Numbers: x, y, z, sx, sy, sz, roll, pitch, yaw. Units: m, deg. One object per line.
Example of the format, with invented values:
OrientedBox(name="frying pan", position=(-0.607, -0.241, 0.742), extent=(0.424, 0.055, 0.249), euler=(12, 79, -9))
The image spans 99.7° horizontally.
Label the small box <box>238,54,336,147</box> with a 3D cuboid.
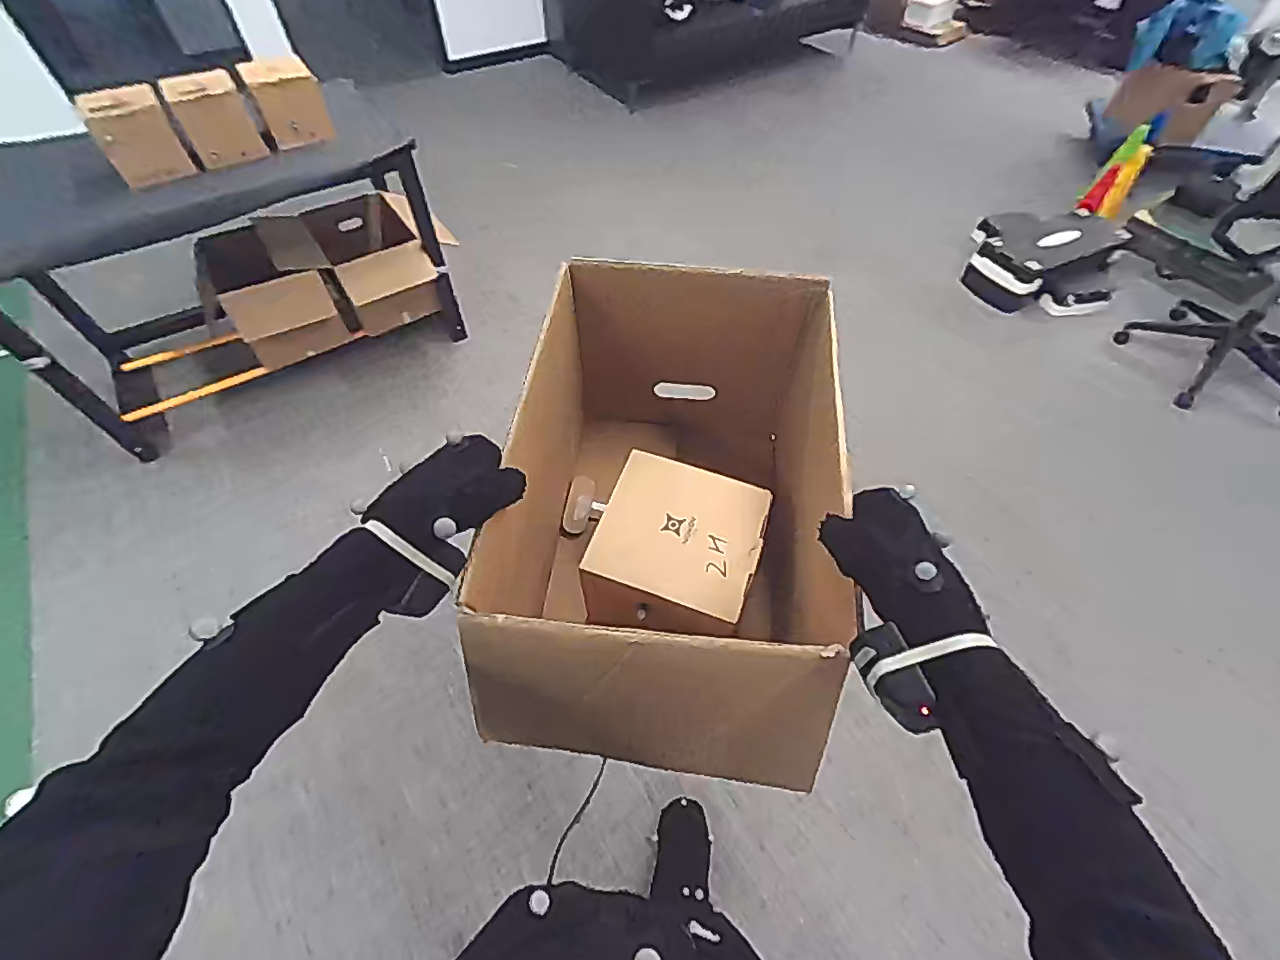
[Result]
OrientedBox(name="small box", position=(-1.025, -1.105, 1.577), extent=(0.168, 0.176, 0.179), euler=(-28, 60, -19))
